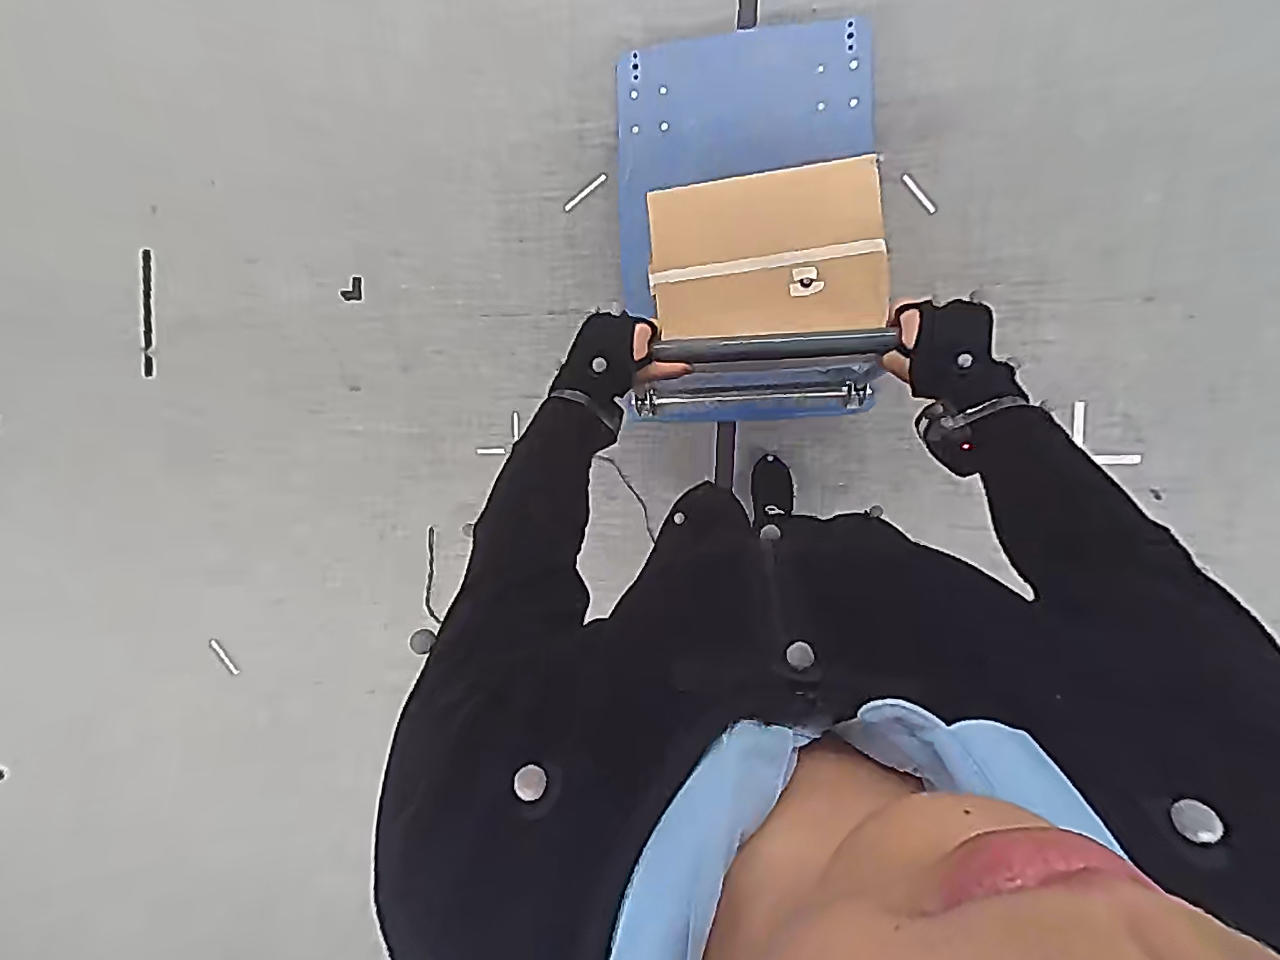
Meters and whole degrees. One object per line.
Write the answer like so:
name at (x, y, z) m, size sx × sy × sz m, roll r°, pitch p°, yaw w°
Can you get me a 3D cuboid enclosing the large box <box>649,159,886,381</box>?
large box at (0.245, -0.399, 1.124) m, size 0.408 × 0.320 × 0.320 m, roll -5°, pitch 94°, yaw 8°
